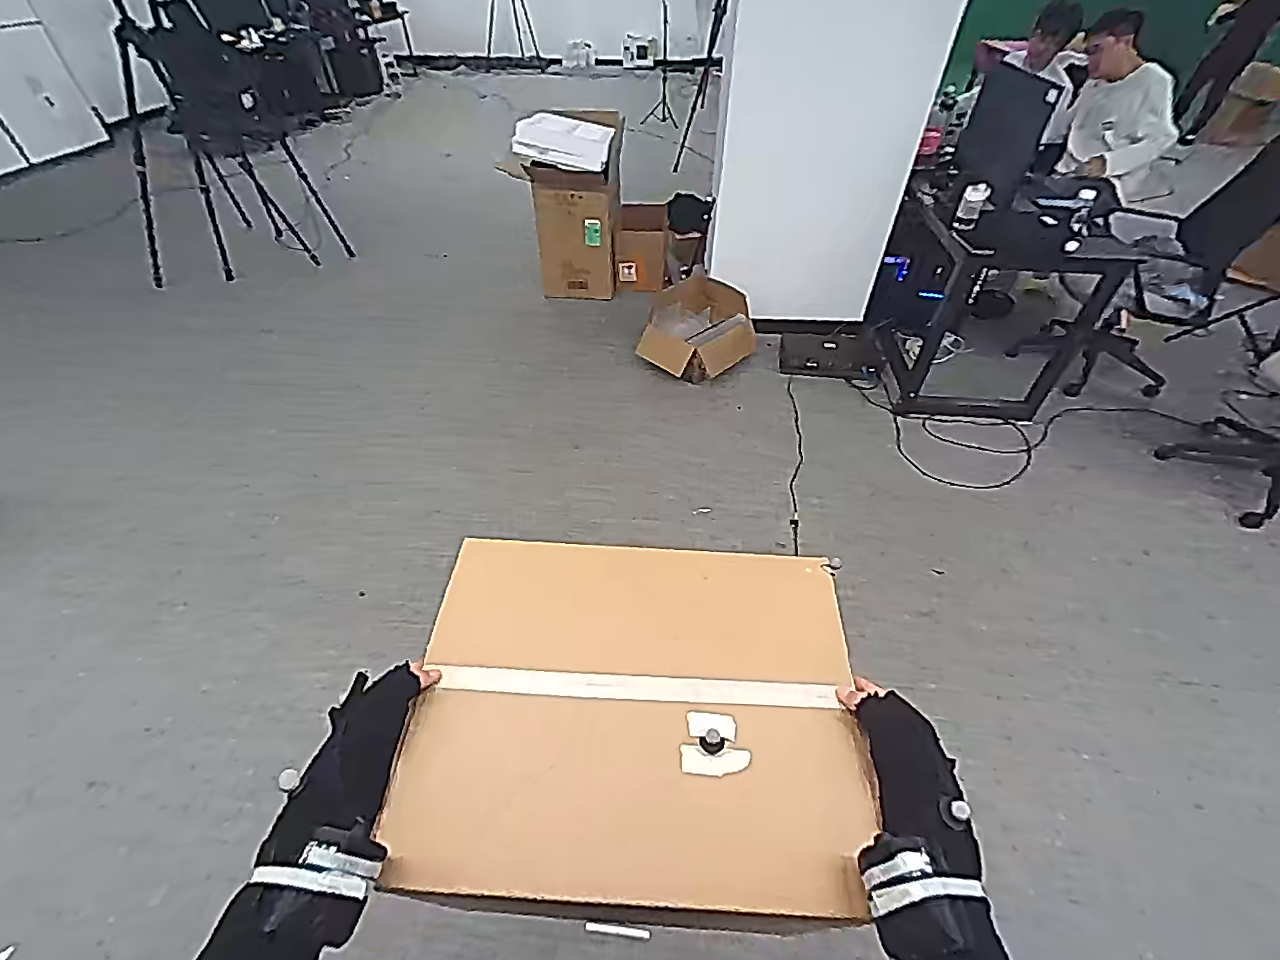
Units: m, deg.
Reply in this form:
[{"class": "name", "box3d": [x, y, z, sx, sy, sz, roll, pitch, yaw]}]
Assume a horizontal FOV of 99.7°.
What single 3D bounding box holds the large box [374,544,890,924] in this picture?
[{"class": "large box", "box3d": [-0.007, 0.294, 0.617, 0.408, 0.320, 0.320, 3, 49, 0]}]
